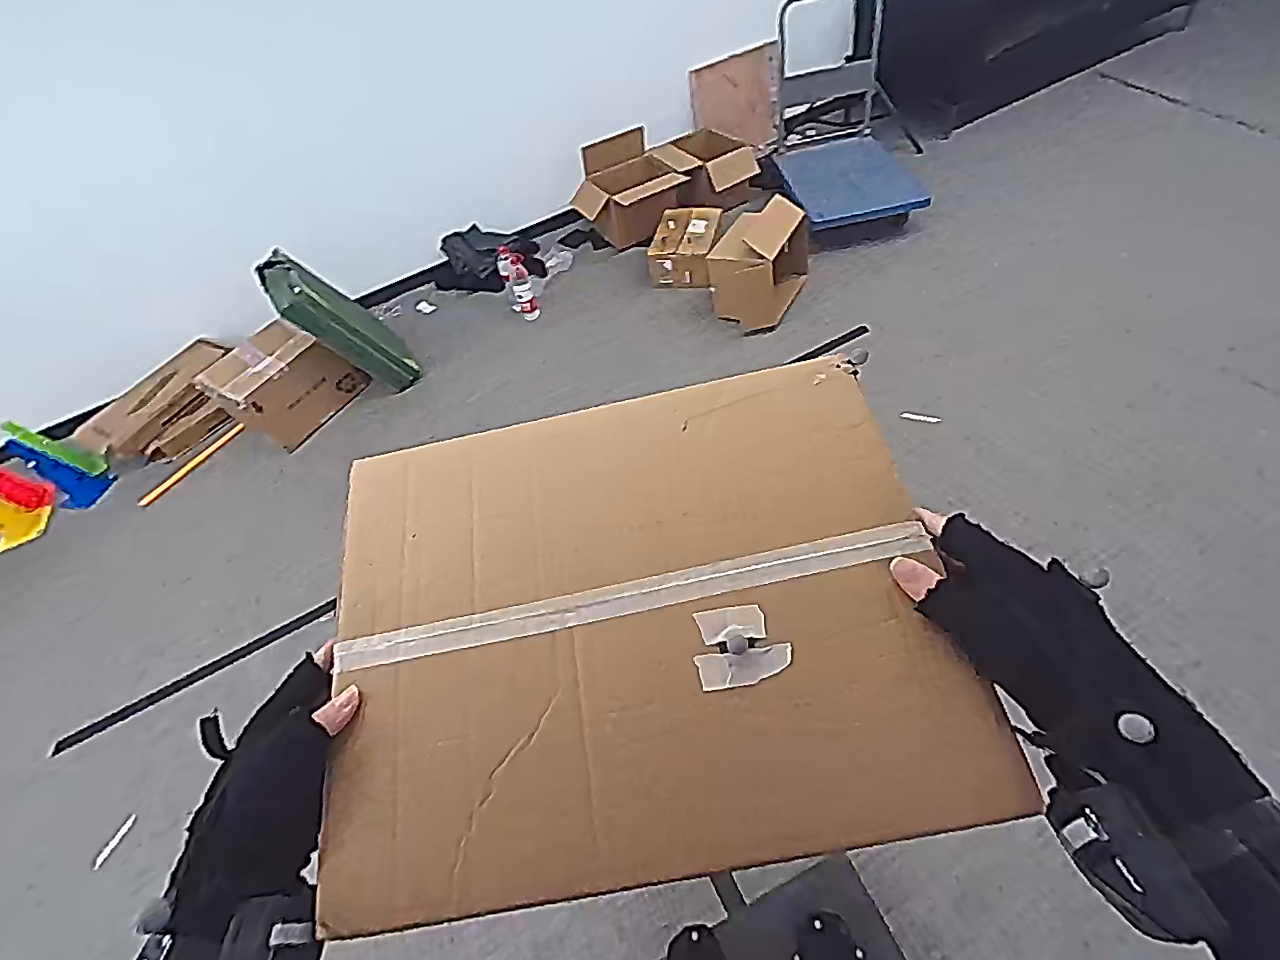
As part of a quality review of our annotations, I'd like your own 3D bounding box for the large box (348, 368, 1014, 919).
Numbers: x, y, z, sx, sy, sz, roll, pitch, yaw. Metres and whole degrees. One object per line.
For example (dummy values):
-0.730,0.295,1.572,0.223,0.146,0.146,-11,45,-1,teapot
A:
0.012,0.148,0.510,0.408,0.320,0.320,-12,64,2,large box
